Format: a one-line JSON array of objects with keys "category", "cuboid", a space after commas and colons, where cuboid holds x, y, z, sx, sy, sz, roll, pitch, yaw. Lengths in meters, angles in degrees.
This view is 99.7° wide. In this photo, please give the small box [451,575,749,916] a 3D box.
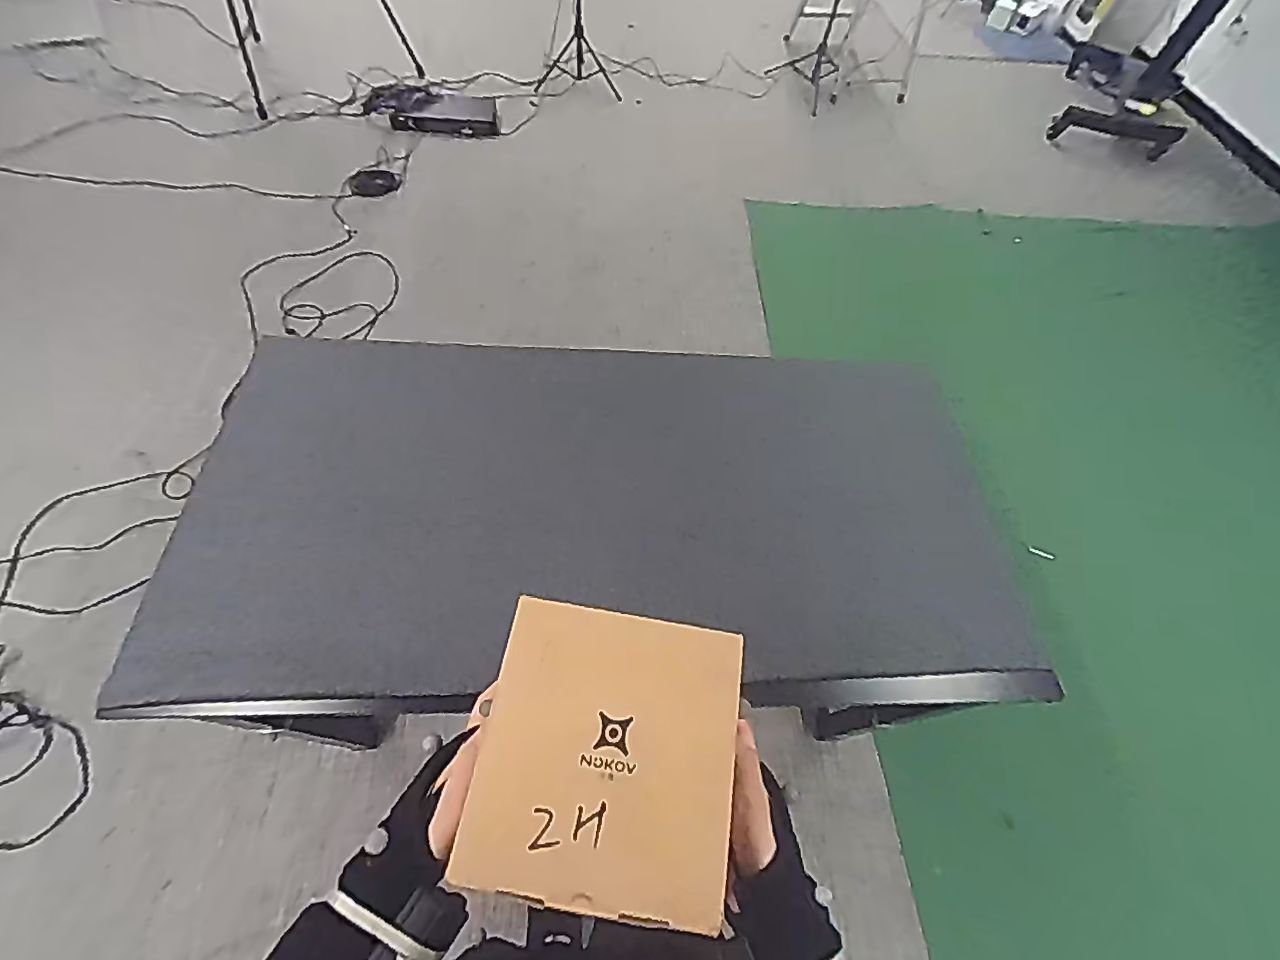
[{"category": "small box", "cuboid": [-0.022, 0.194, 0.418, 0.168, 0.176, 0.179, 10, 63, 1]}]
